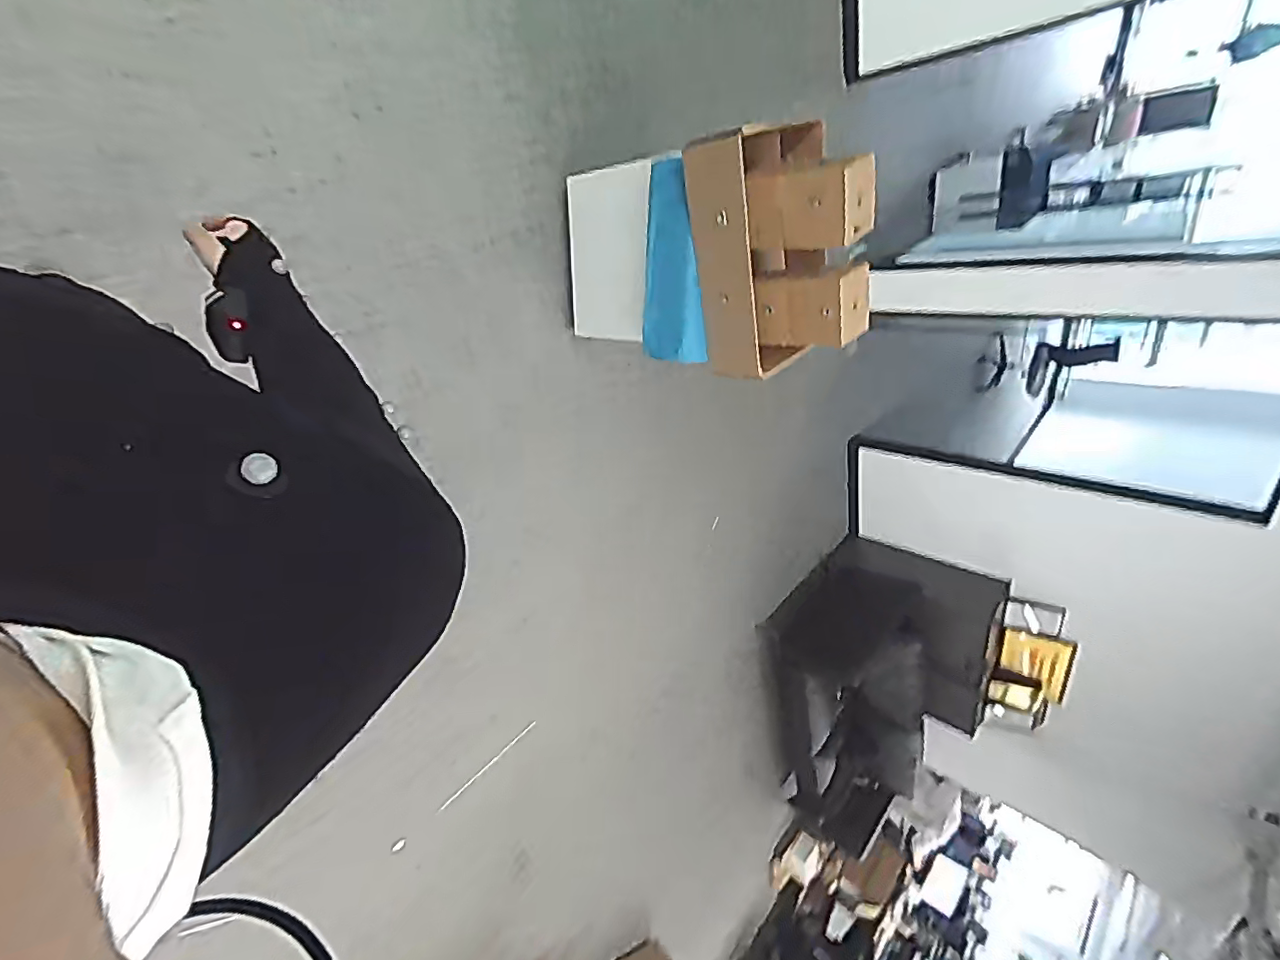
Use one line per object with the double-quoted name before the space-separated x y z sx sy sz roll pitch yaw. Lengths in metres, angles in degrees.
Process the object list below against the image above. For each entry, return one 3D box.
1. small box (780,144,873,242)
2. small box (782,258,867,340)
"small box" 0.464 -0.710 1.349 0.168 0.176 0.179 -39 130 -31
"small box" 0.496 -0.490 1.463 0.168 0.176 0.179 -34 126 -35
